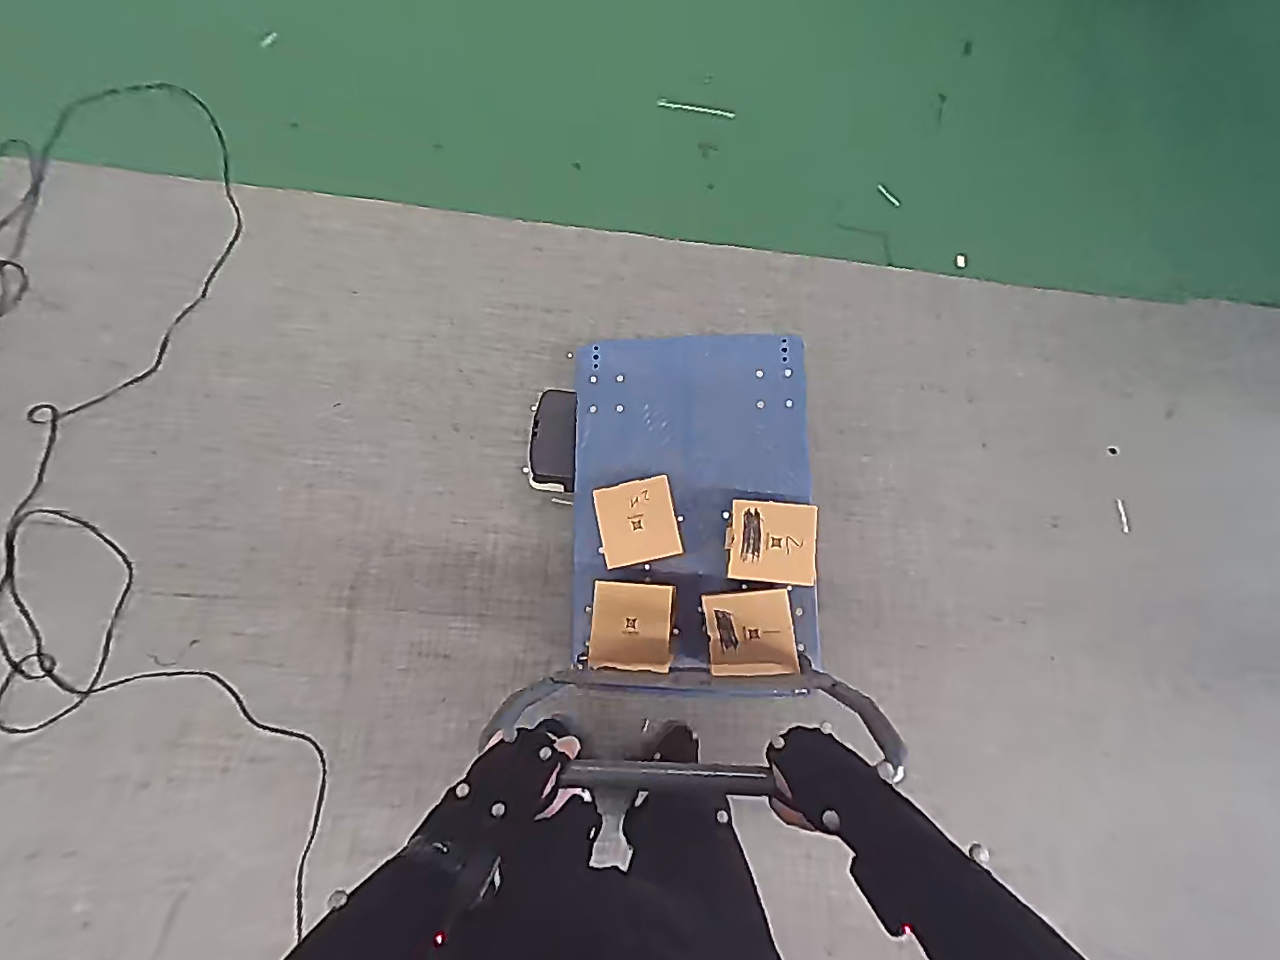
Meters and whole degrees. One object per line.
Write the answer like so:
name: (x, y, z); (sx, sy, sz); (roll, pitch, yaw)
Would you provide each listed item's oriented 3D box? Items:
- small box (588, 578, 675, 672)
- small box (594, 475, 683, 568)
small box: (-0.011, 0.311, 1.192); (0.168, 0.176, 0.179); (4, 81, 7)
small box: (0.003, 0.100, 1.227); (0.168, 0.176, 0.179); (-12, 79, 3)
